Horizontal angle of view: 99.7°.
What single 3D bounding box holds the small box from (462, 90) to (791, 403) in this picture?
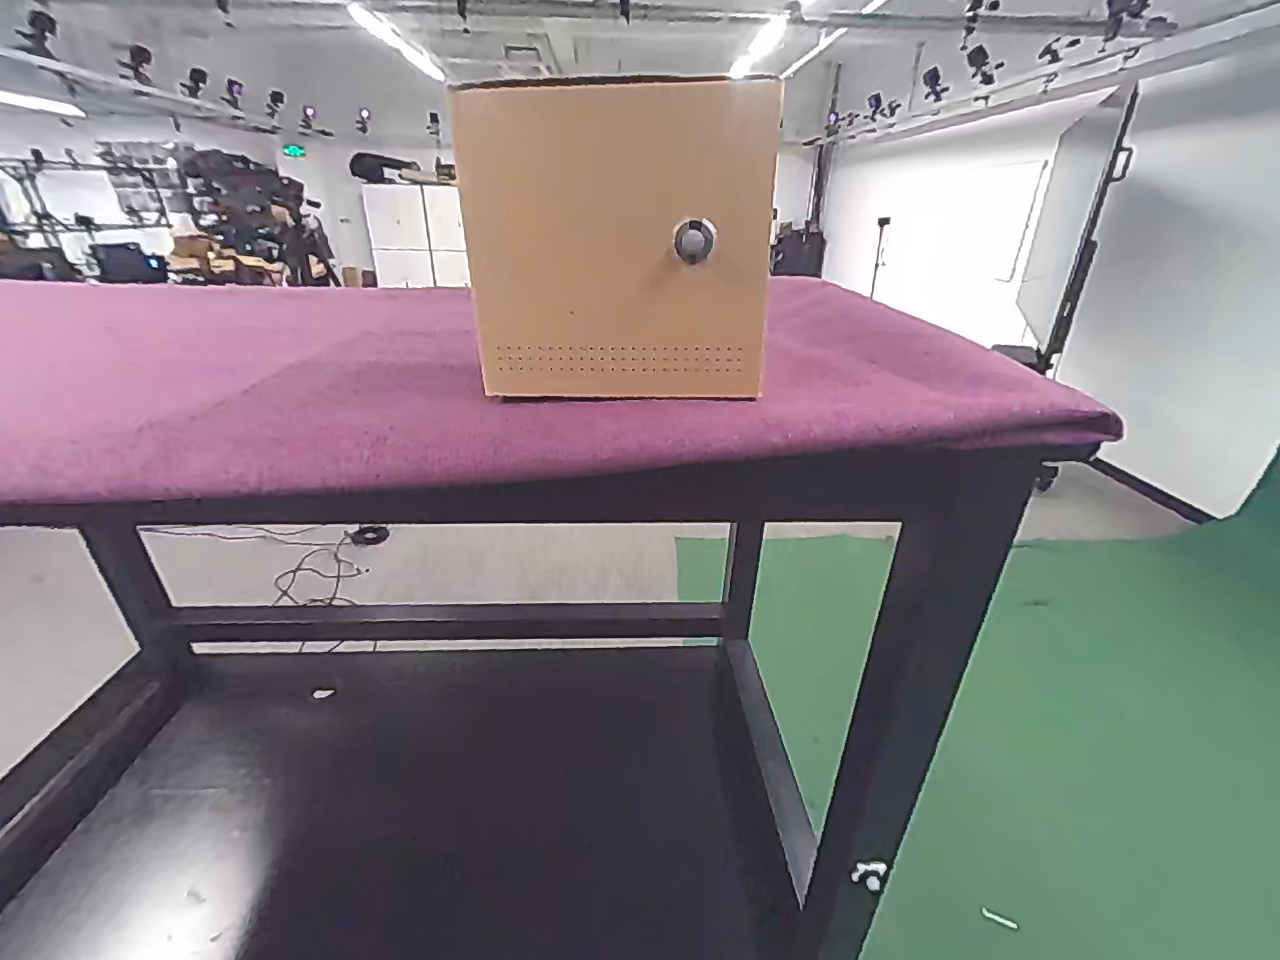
[{"bbox_3d":[-0.003,-0.155,0.385,0.179,0.176,0.168,0,23,3],"label":"small box"}]
